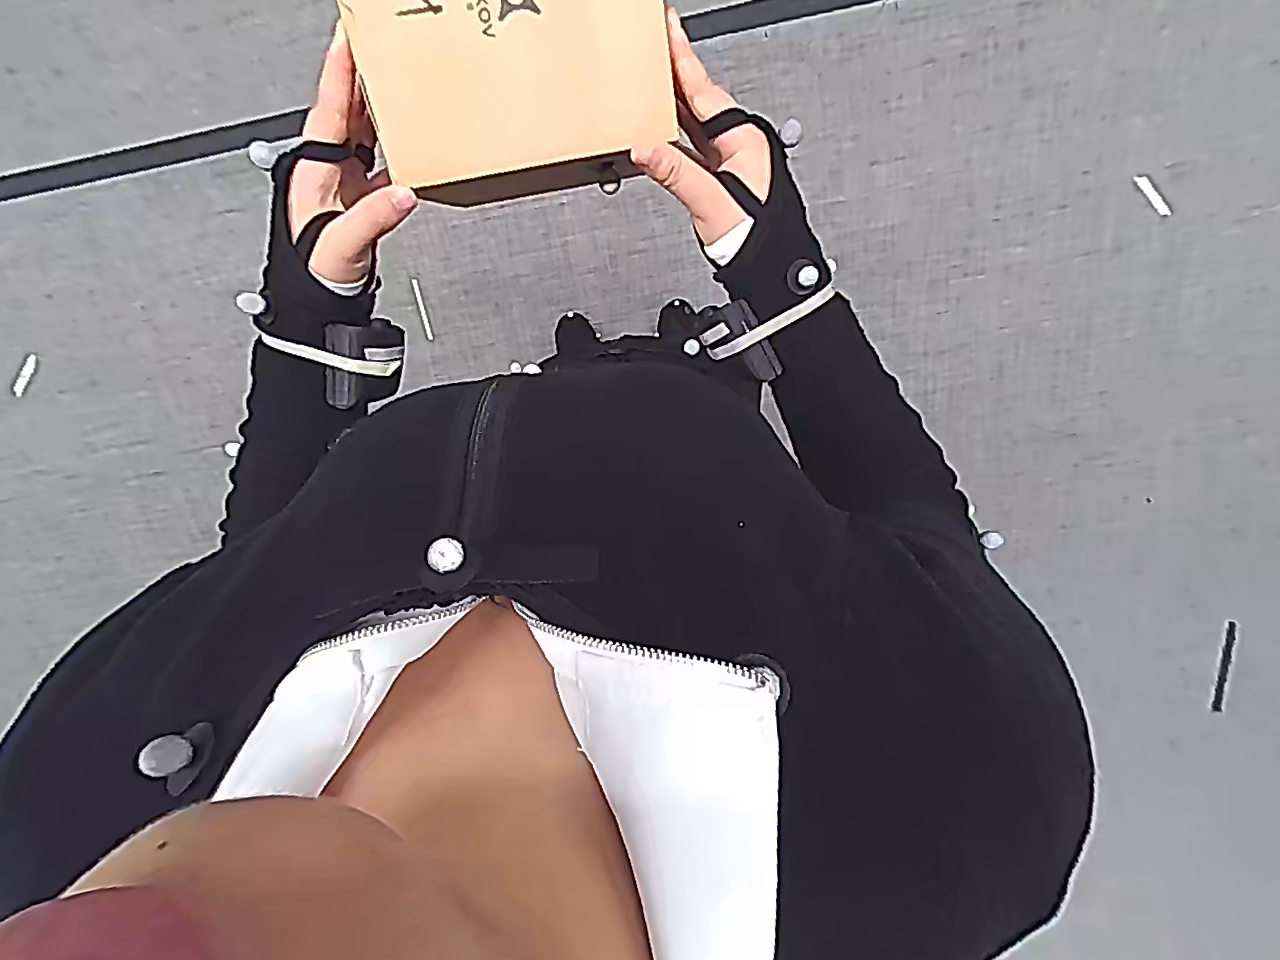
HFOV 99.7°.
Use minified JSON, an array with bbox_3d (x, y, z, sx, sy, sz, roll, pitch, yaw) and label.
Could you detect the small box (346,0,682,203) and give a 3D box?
[{"bbox_3d":[-0.075,-0.293,0.367,0.179,0.176,0.168,-9,114,2],"label":"small box"}]
